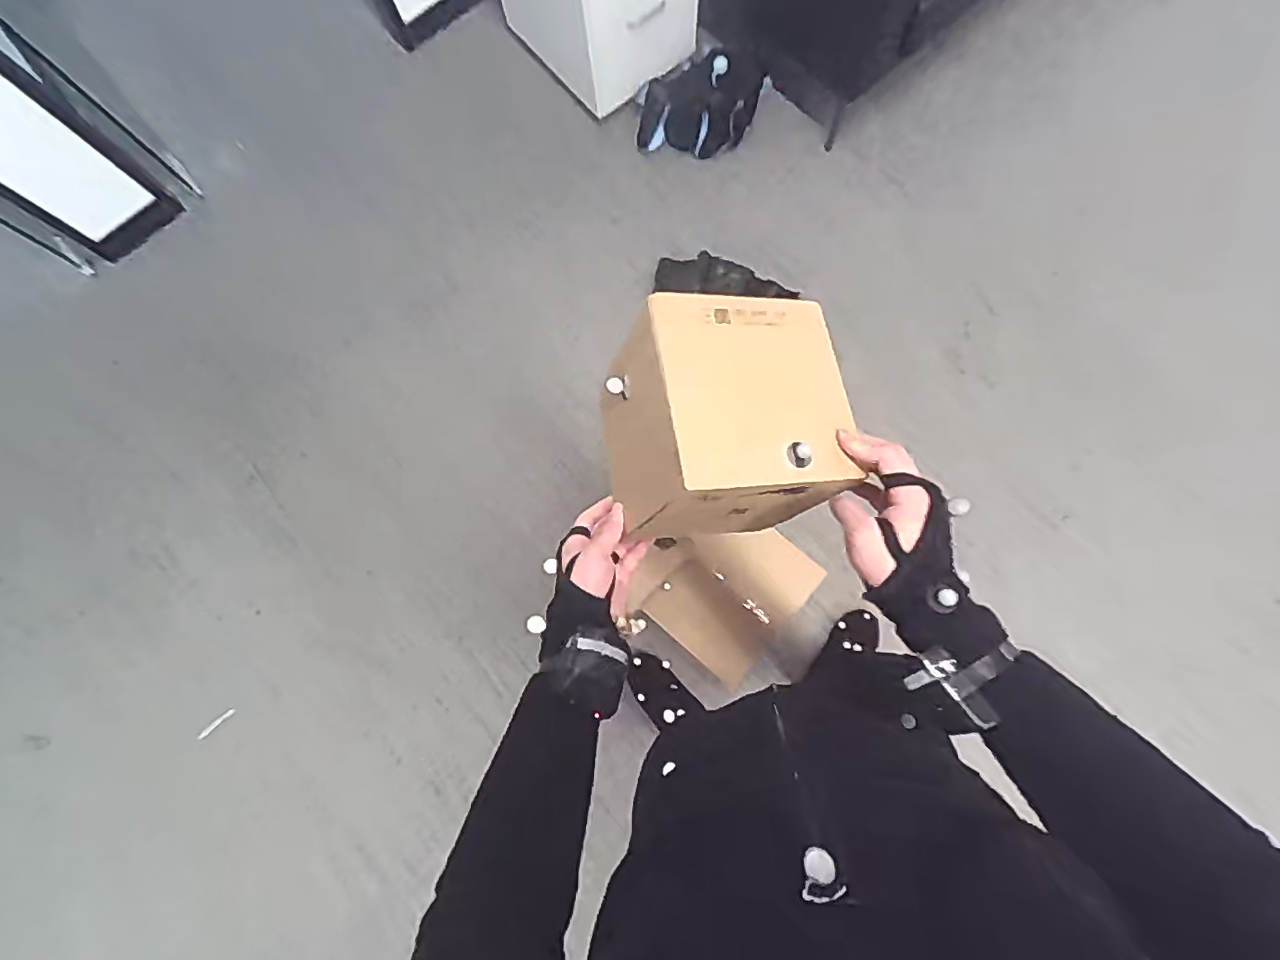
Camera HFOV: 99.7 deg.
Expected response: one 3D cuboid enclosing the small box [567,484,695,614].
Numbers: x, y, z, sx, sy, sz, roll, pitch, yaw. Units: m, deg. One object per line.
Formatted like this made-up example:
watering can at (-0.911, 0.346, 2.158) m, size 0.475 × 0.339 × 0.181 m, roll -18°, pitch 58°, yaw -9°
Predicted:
small box at (-0.013, 0.136, 1.046) m, size 0.179 × 0.176 × 0.168 m, roll -44°, pitch 78°, yaw -4°
